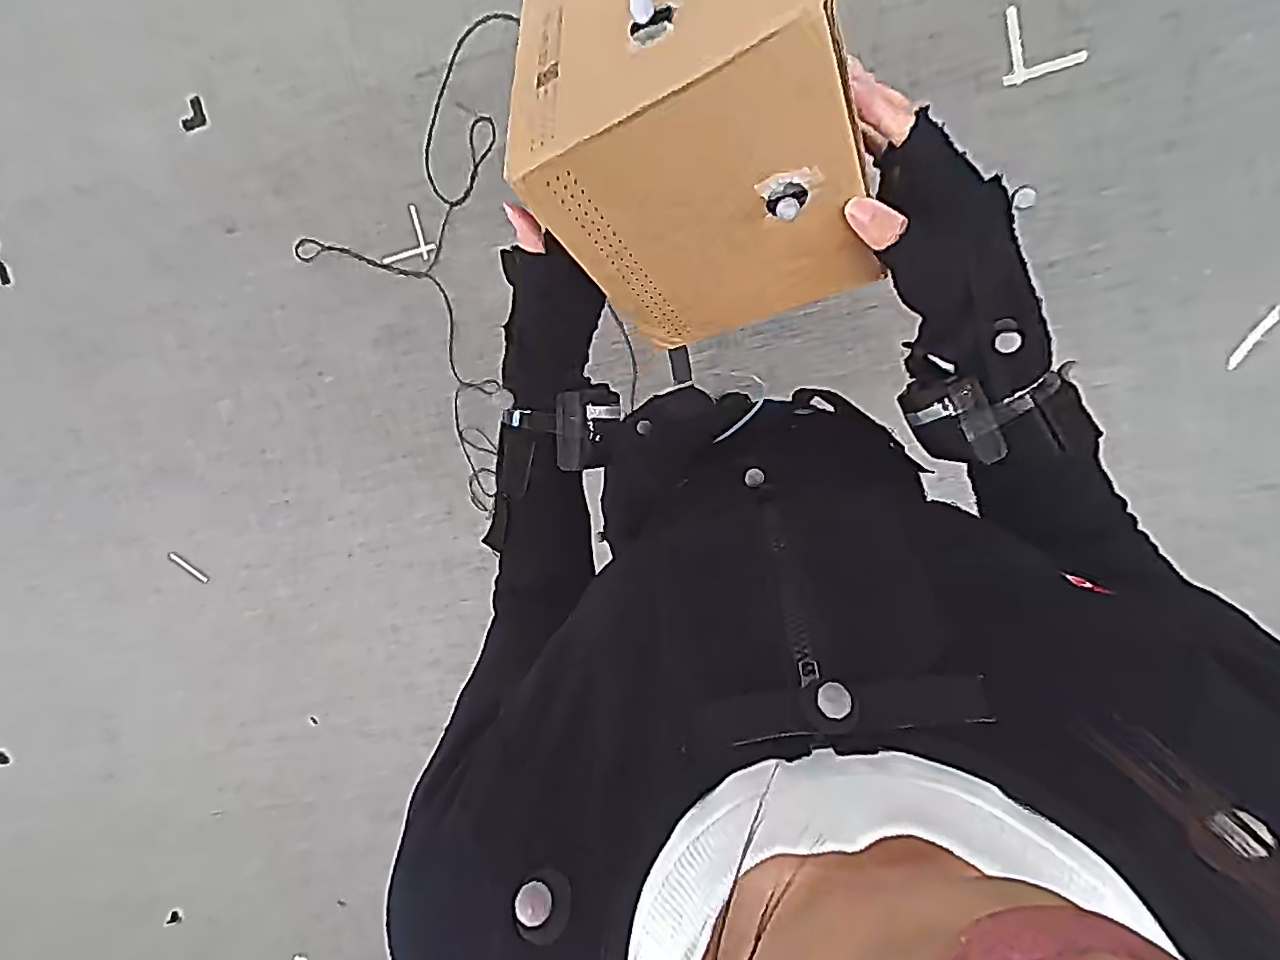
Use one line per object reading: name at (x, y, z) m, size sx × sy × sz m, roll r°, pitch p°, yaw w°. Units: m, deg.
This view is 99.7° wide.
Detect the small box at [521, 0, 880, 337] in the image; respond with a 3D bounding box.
small box at (0.042, -0.220, 0.354) m, size 0.176 × 0.179 × 0.168 m, roll -12°, pitch 66°, yaw 27°
